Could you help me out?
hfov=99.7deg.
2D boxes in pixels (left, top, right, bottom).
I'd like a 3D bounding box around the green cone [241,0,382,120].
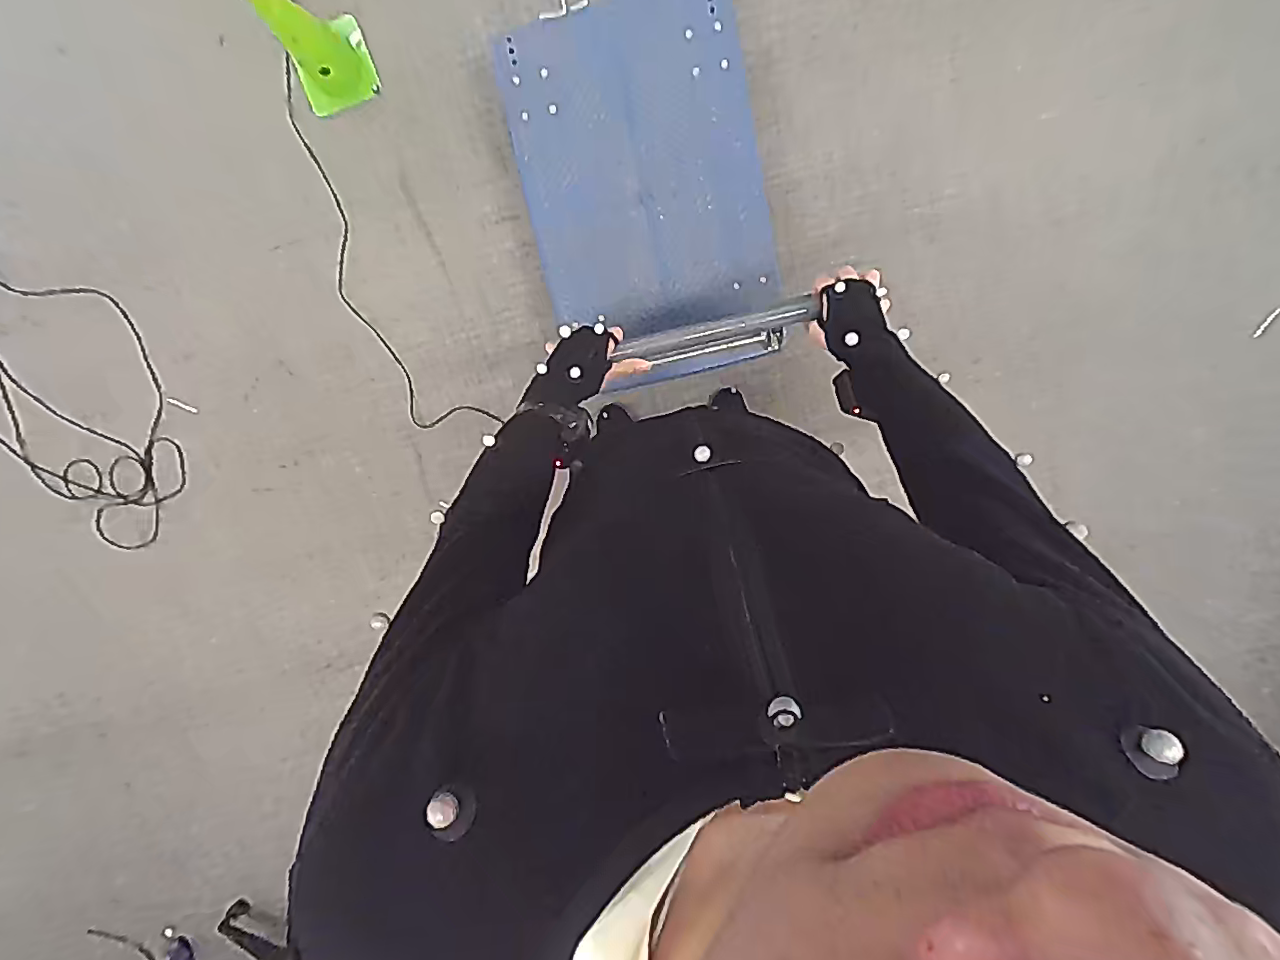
[{"bbox_3d":[-0.820,-1.067,1.280,0.202,0.368,0.200,-19,99,6],"label":"green cone"}]
